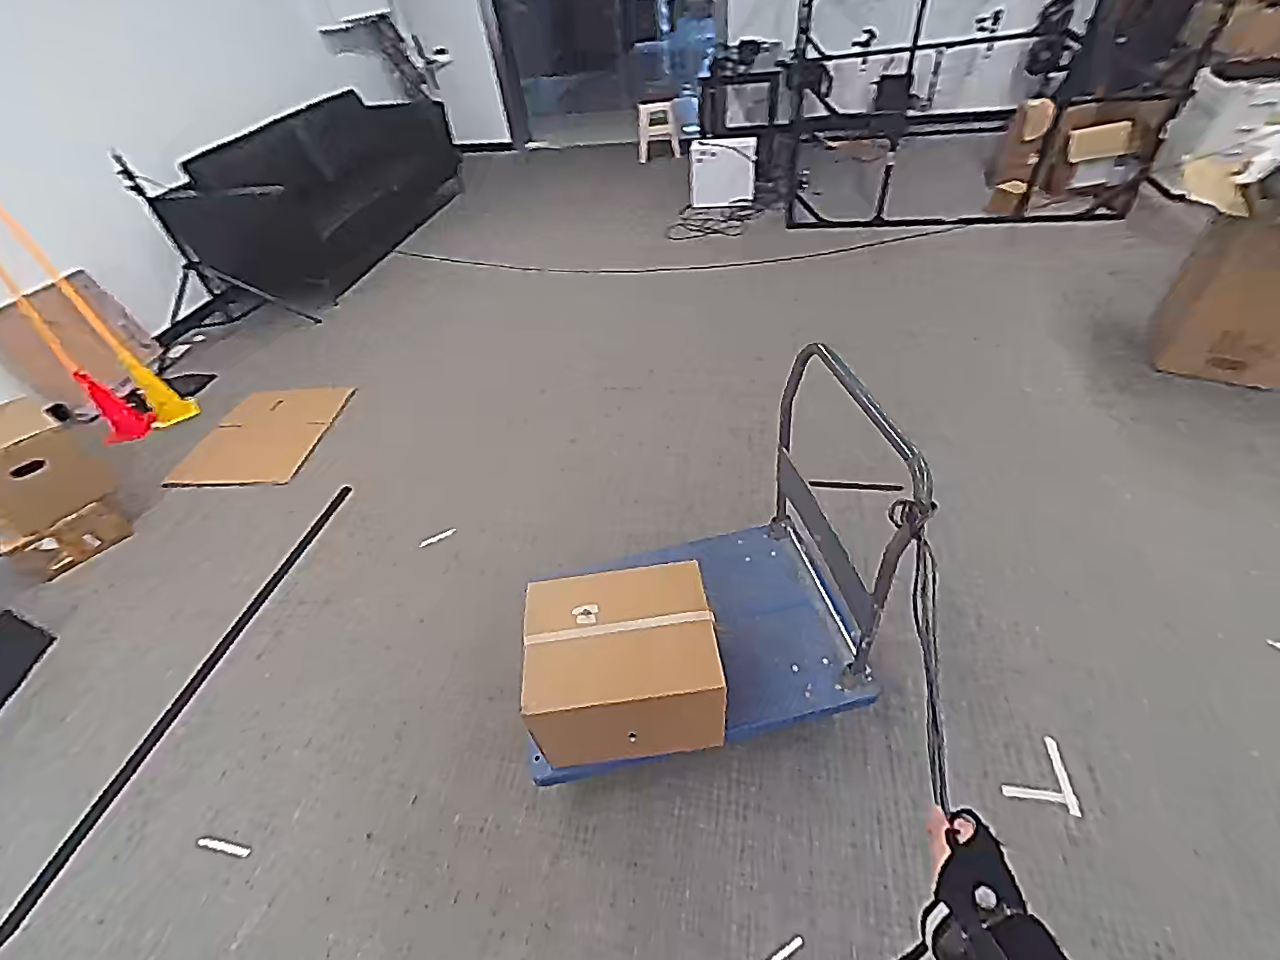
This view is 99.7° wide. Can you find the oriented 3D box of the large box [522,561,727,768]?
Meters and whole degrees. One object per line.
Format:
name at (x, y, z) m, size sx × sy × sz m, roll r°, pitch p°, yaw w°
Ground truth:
large box at (-0.032, 0.428, 1.246) m, size 0.408 × 0.320 × 0.320 m, roll -9°, pitch 44°, yaw 0°
